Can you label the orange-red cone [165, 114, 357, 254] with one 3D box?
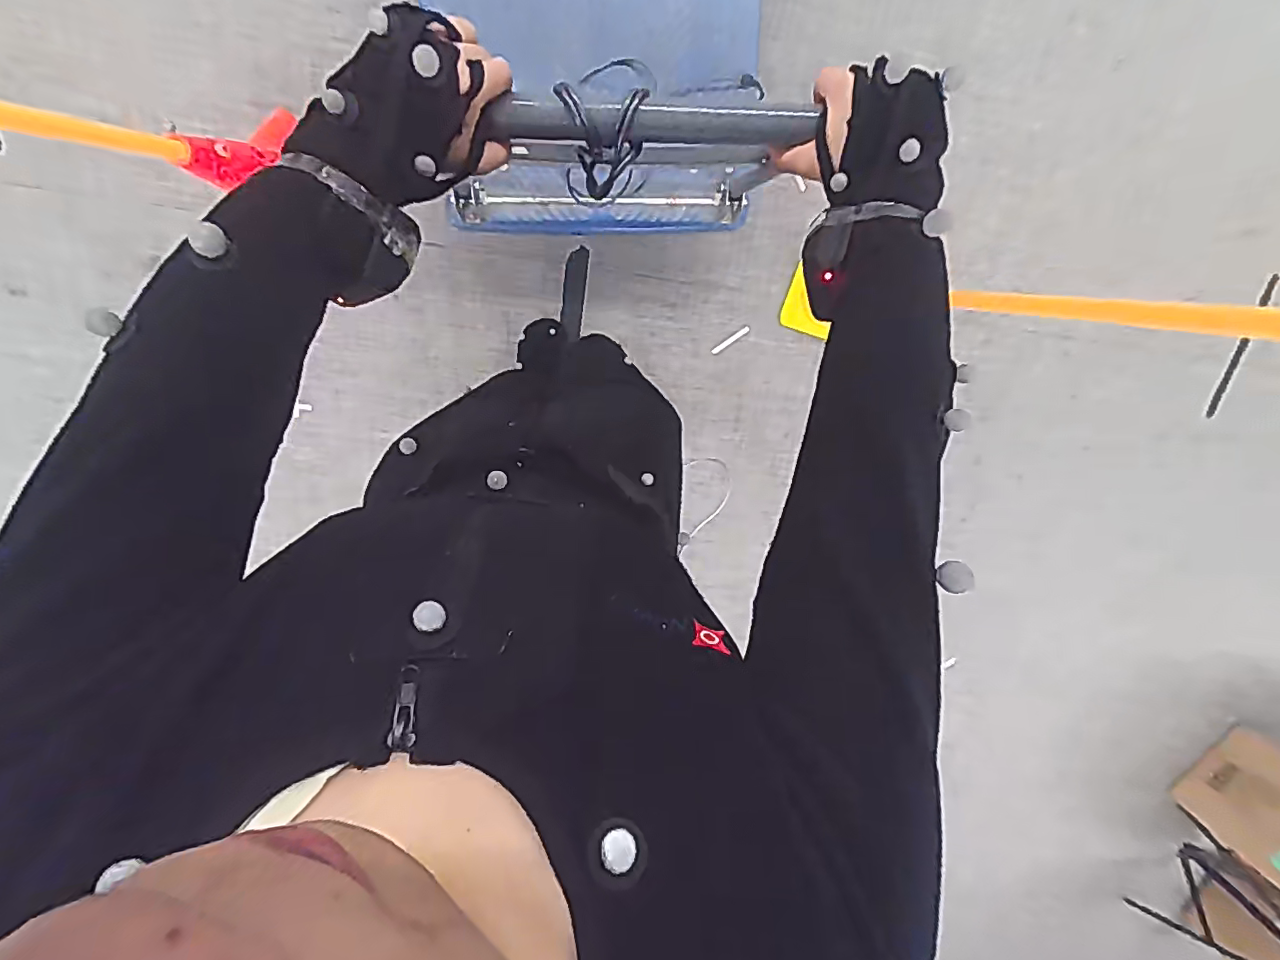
[{"bbox_3d":[-0.677,-0.529,0.924,0.199,0.360,0.198,-37,112,5],"label":"orange-red cone"}]
